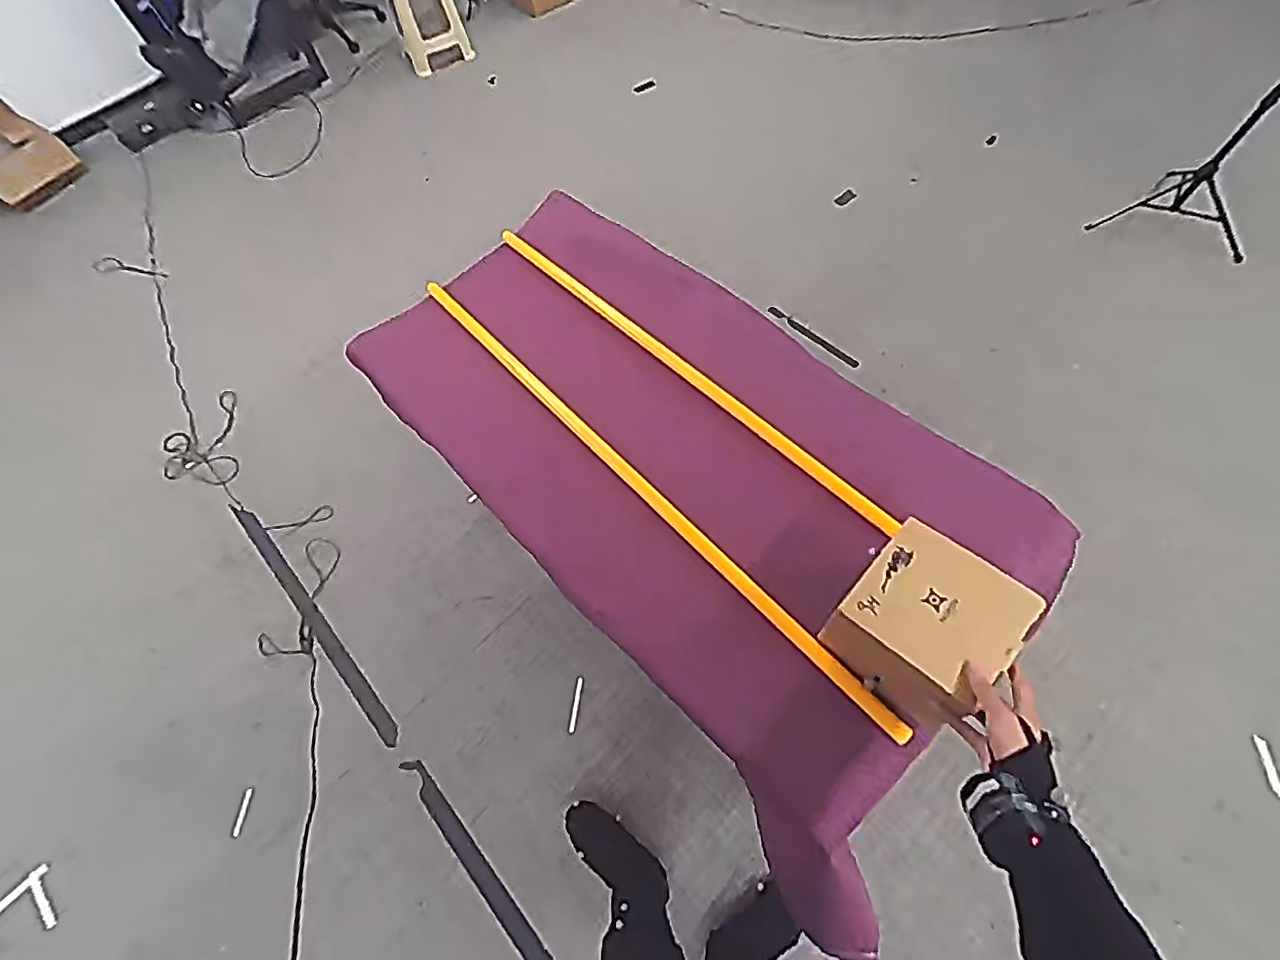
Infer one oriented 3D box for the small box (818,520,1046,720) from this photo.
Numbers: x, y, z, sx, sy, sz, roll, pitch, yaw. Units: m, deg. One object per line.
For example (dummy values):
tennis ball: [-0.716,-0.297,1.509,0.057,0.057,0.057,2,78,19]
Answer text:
small box: [0.362,0.189,0.705,0.179,0.176,0.168,39,72,24]
